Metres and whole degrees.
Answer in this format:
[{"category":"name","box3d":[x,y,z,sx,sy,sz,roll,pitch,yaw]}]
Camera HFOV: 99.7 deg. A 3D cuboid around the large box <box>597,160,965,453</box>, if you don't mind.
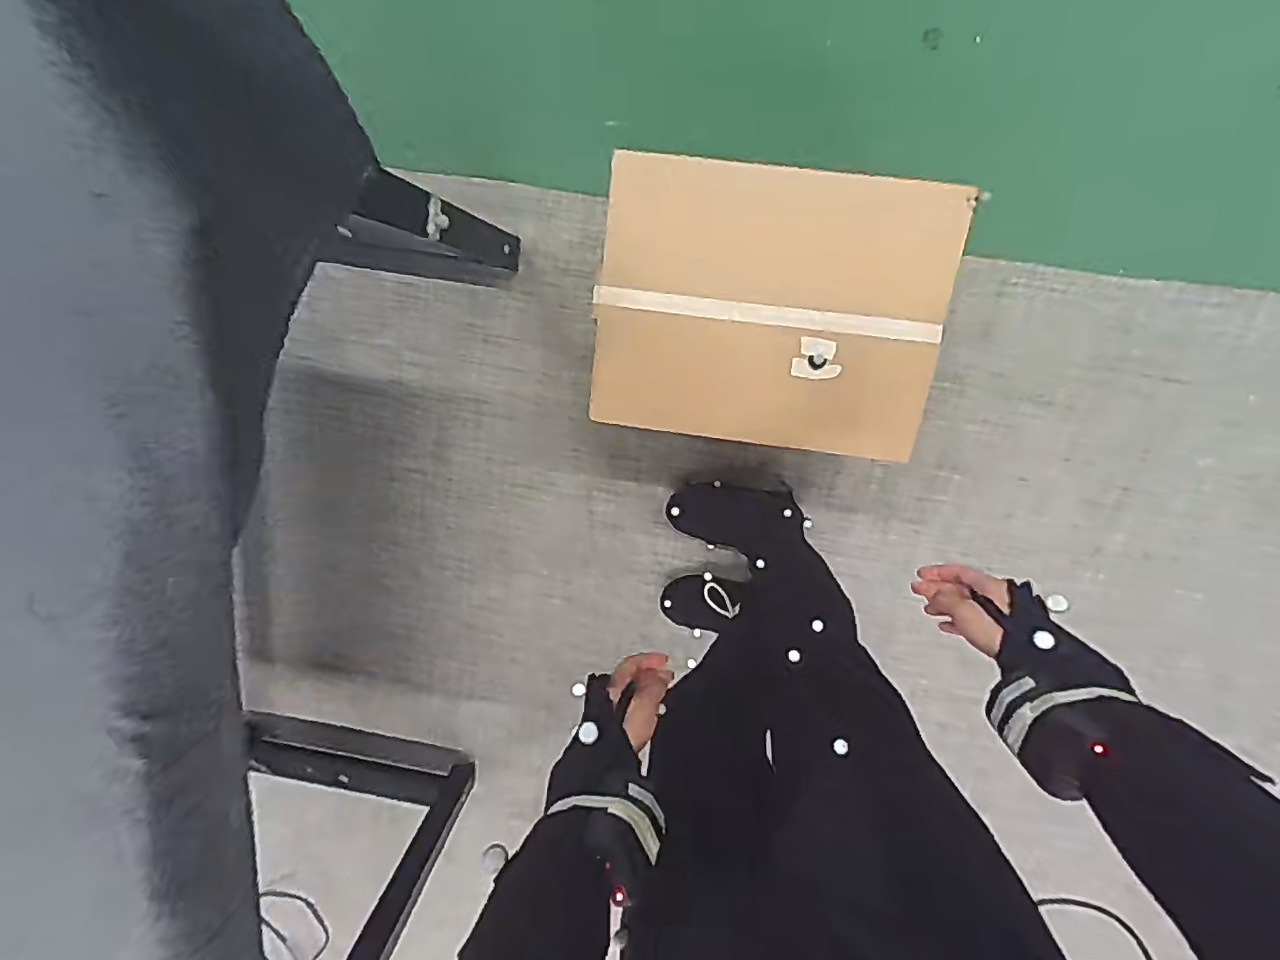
[{"category":"large box","box3d":[0.164,-0.236,0.794,0.408,0.320,0.320,7,105,3]}]
